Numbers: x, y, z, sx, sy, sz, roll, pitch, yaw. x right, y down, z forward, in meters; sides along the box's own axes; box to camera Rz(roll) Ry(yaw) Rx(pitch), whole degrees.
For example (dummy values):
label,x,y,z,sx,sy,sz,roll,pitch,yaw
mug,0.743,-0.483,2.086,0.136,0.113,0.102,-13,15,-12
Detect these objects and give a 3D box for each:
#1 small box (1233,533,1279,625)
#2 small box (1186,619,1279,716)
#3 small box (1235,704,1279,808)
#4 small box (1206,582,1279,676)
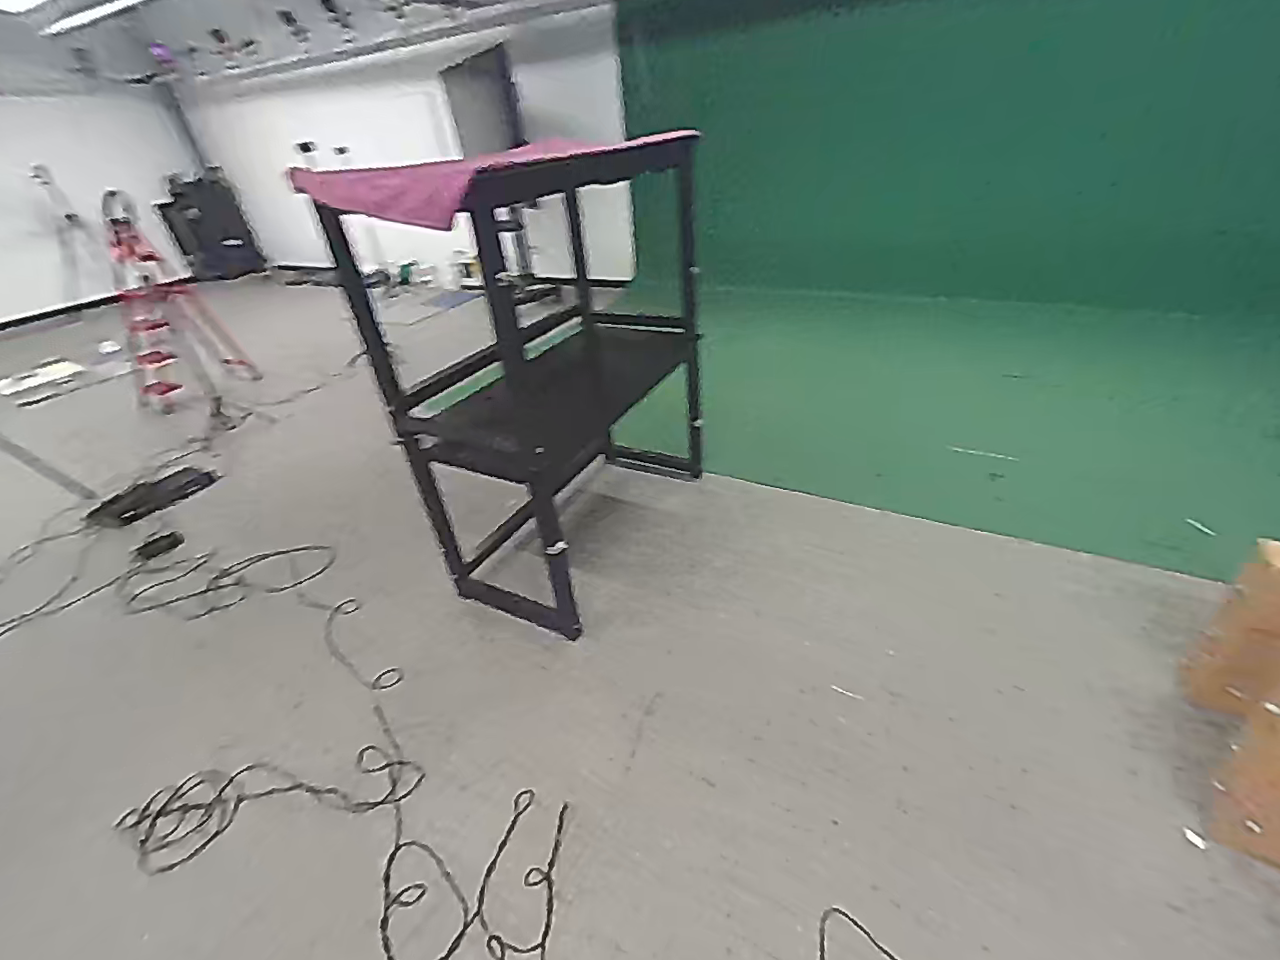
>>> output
label,x,y,z,sx,sy,sz,roll,pitch,yaw
small box,1.653,0.263,1.345,0.179,0.176,0.168,14,37,27
small box,1.691,0.533,1.527,0.179,0.176,0.168,15,39,30
small box,1.443,0.612,1.158,0.179,0.176,0.168,18,41,33
small box,1.673,0.400,1.436,0.179,0.176,0.168,12,37,28
